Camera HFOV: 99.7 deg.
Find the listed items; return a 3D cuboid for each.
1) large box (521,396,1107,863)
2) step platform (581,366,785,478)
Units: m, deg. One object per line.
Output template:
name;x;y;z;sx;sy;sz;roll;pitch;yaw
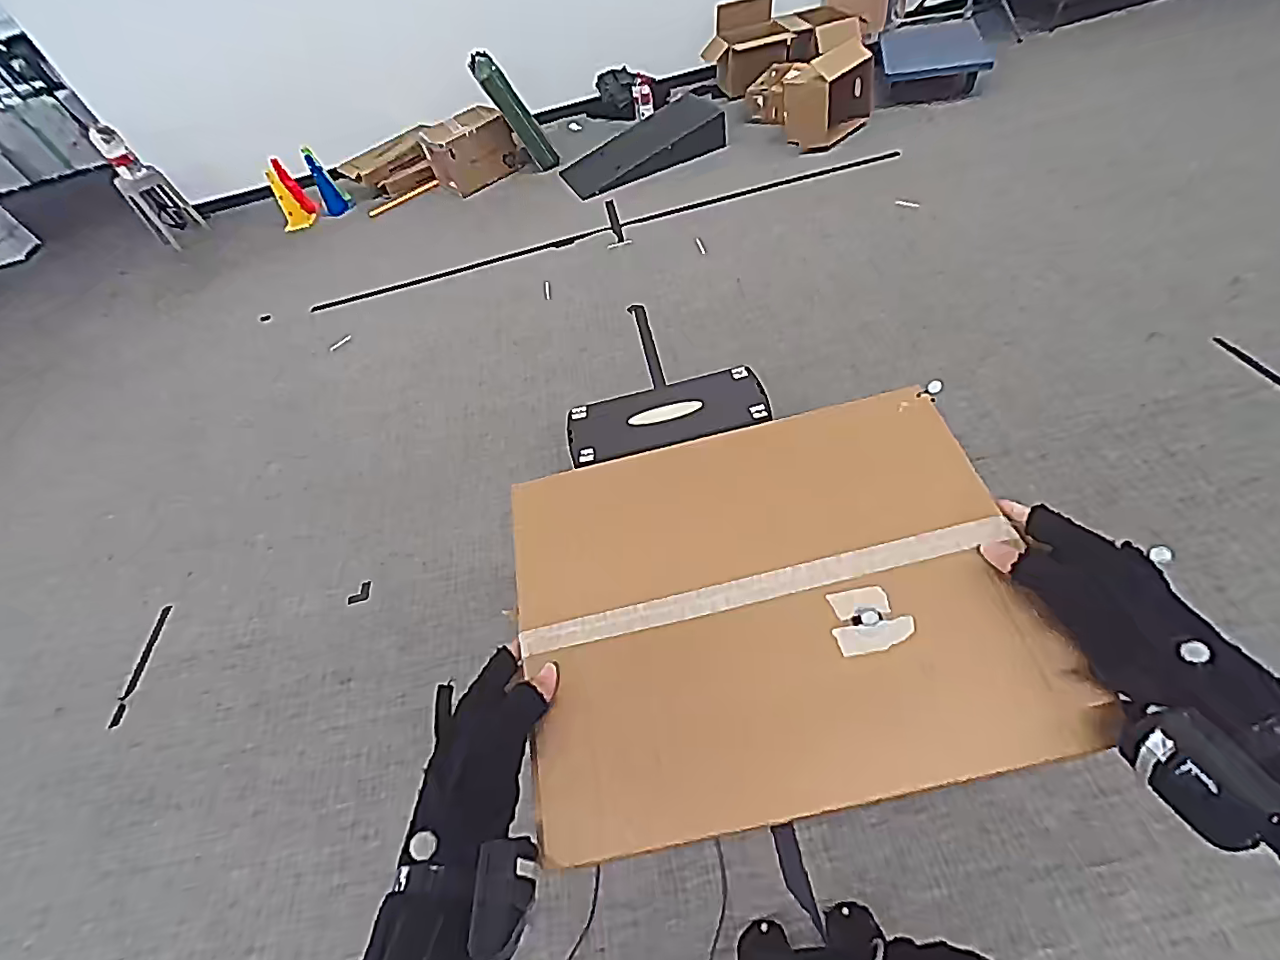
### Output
large box;0.124;0.169;0.578;0.408;0.320;0.320;-14;59;2
step platform;0.141;-0.167;1.852;0.684;0.204;0.286;-15;51;1
